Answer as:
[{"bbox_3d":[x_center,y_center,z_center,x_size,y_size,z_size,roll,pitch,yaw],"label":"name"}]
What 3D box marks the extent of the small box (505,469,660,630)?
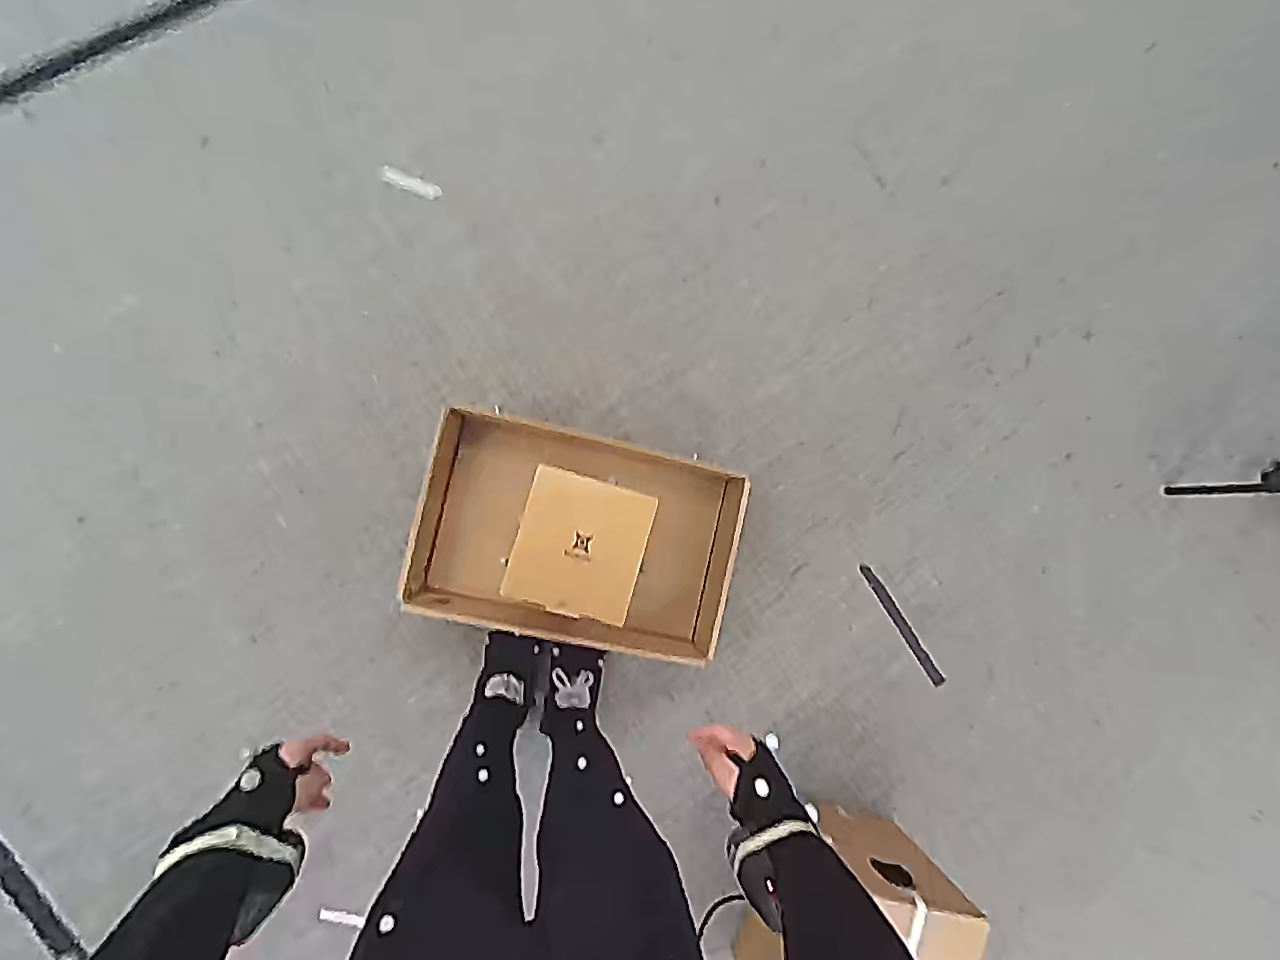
[{"bbox_3d":[-0.085,0.093,0.776,0.168,0.176,0.179,16,86,-8],"label":"small box"}]
